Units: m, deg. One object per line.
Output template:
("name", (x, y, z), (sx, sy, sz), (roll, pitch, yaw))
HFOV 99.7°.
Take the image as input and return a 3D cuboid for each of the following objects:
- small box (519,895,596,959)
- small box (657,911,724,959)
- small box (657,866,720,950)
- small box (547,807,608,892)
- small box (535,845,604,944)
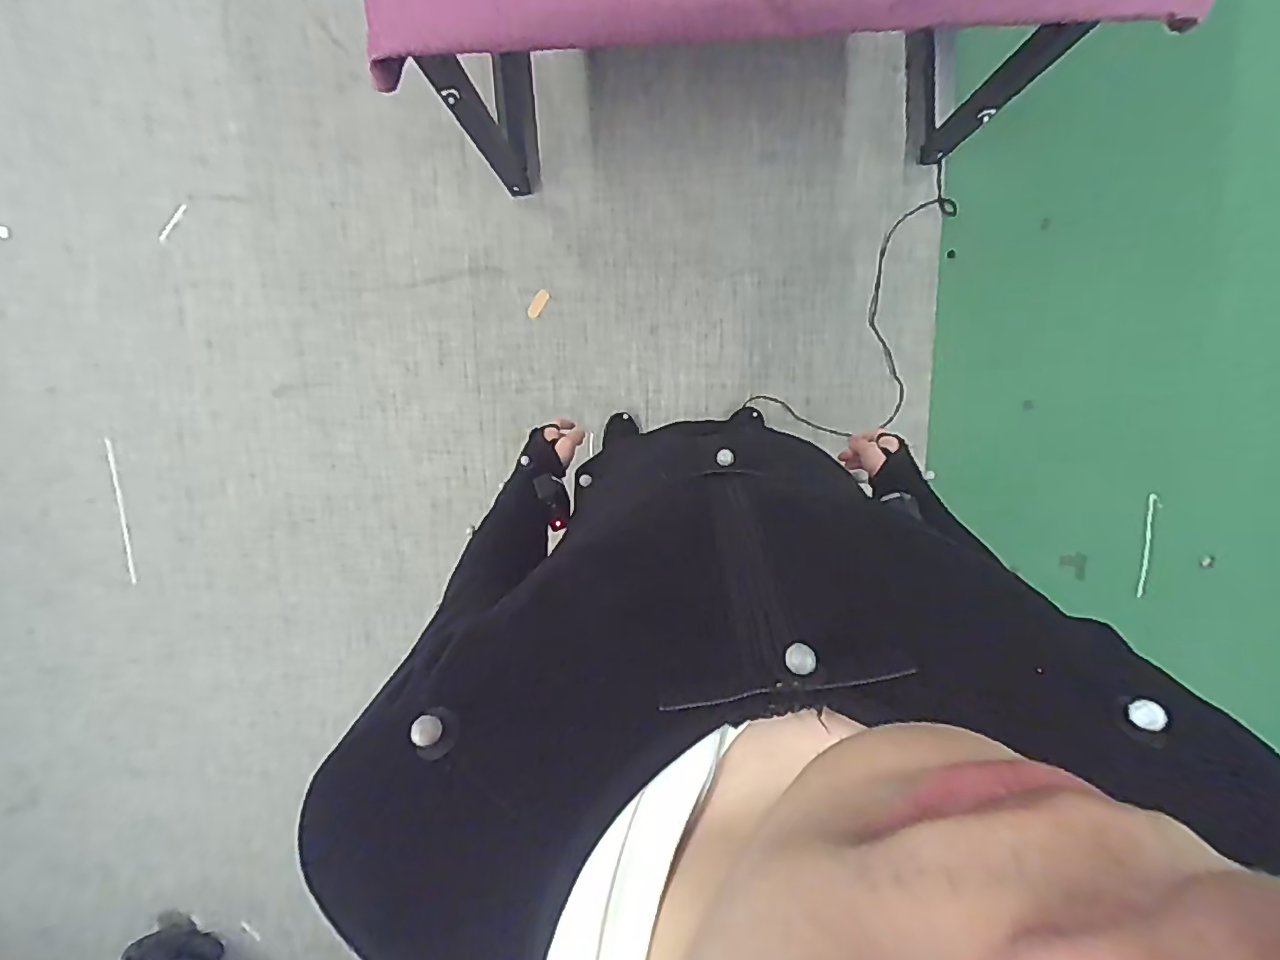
("small box", (-0.204, 1.213, 1.394), (0.179, 0.176, 0.168), (0, 97, 2))
("small box", (0.142, 1.403, 1.569), (0.179, 0.176, 0.168), (7, 99, 1))
("small box", (0.151, 1.385, 1.734), (0.179, 0.176, 0.168), (8, 99, 1))
("small box", (-0.193, 1.171, 1.717), (0.179, 0.176, 0.168), (0, 98, 2))
("small box", (-0.198, 1.187, 1.557), (0.179, 0.176, 0.168), (-1, 97, 1))
